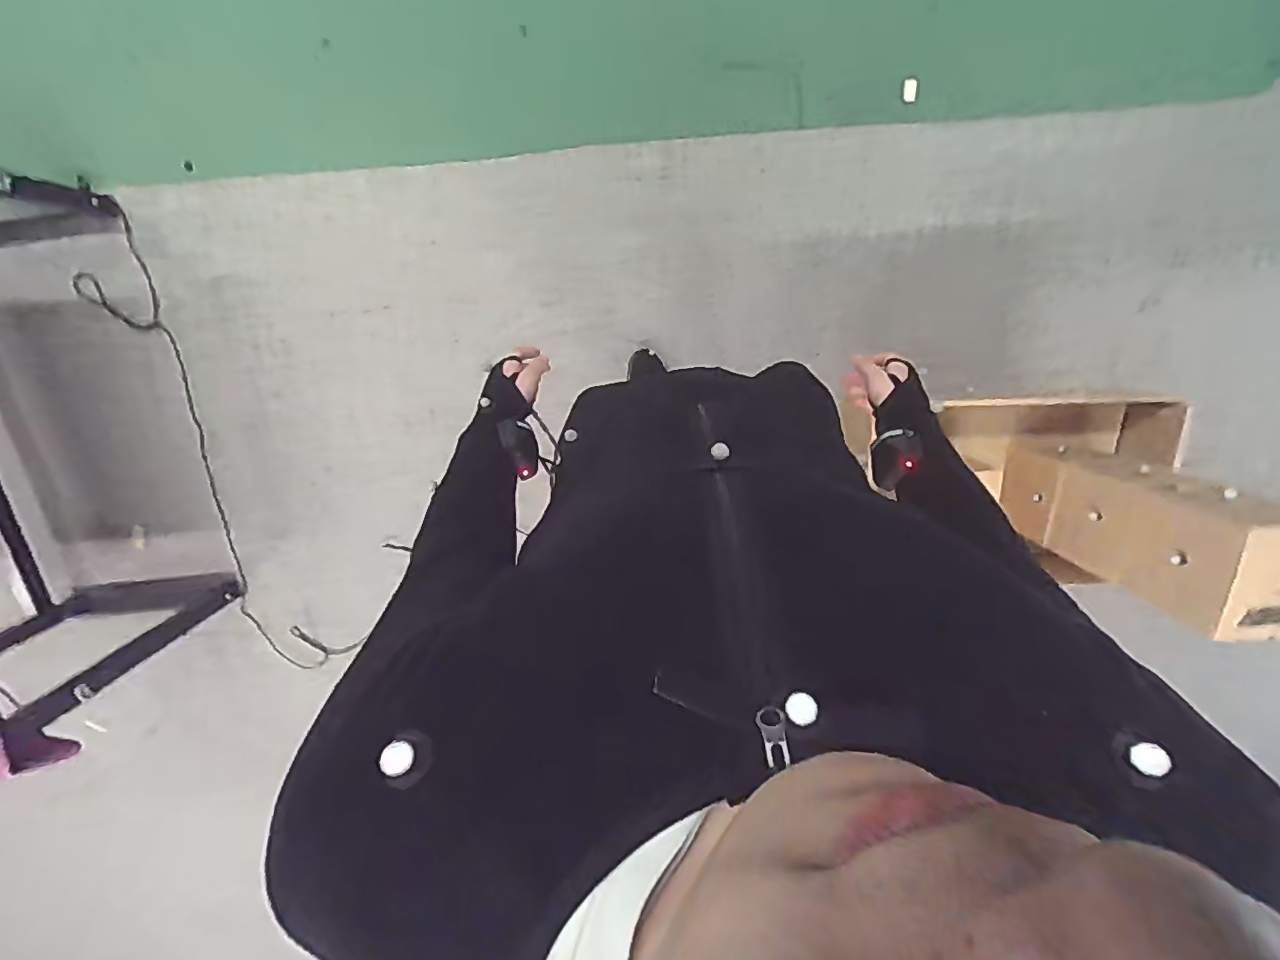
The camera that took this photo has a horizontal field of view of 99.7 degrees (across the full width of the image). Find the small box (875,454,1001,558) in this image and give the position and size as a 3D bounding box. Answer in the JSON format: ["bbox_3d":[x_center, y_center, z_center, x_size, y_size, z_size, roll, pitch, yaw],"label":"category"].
[{"bbox_3d":[0.614,0.050,1.138,0.168,0.176,0.179,-3,106,-1],"label":"small box"}]

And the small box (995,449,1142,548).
[{"bbox_3d":[0.888,0.034,1.142,0.168,0.176,0.179,2,106,0],"label":"small box"}]

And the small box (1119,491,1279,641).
[{"bbox_3d":[0.892,0.126,0.827,0.168,0.176,0.179,0,105,0],"label":"small box"}]

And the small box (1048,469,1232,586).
[{"bbox_3d":[0.892,0.080,0.985,0.168,0.176,0.179,1,105,1],"label":"small box"}]
